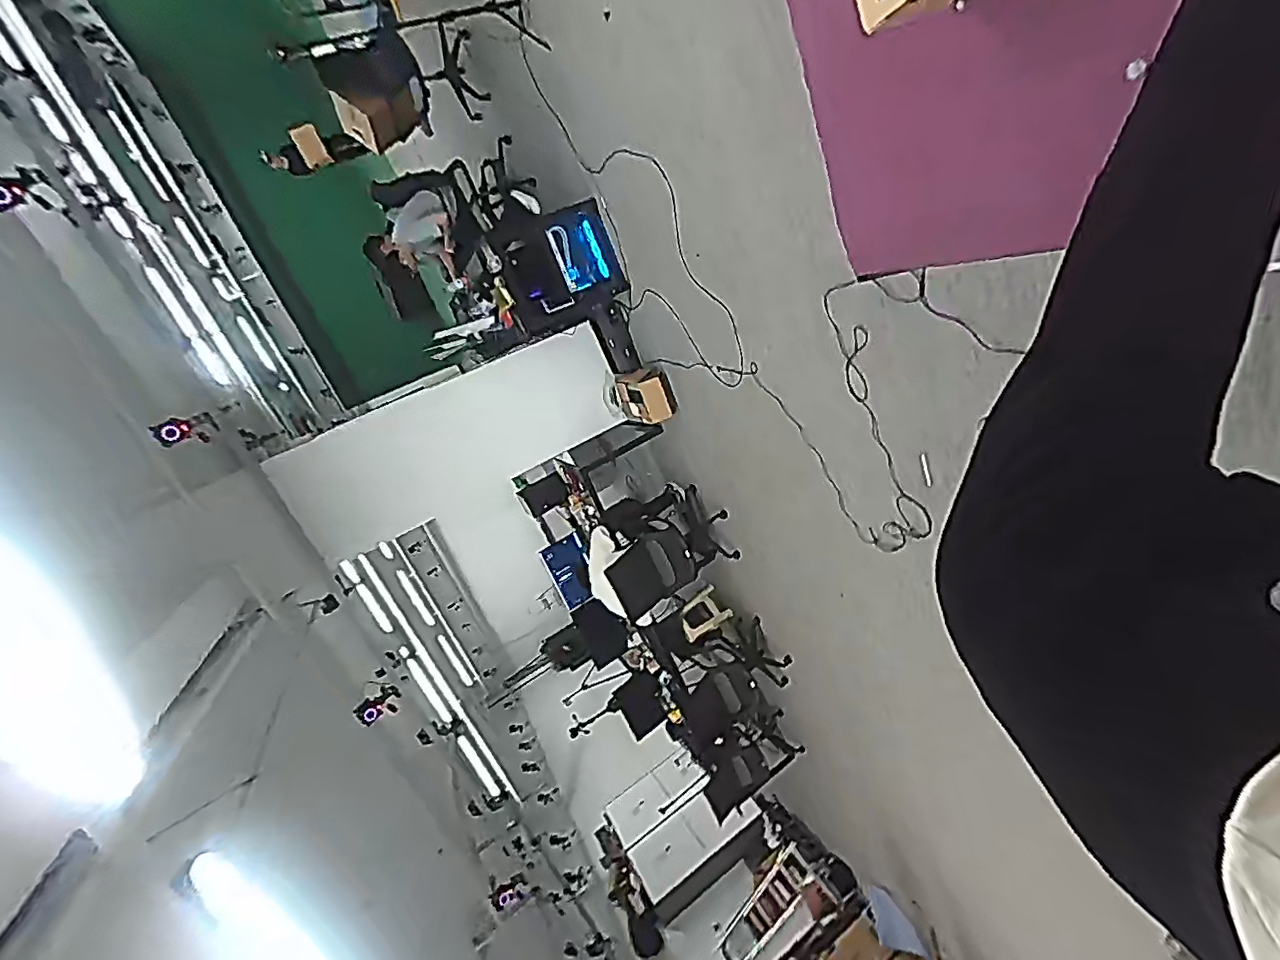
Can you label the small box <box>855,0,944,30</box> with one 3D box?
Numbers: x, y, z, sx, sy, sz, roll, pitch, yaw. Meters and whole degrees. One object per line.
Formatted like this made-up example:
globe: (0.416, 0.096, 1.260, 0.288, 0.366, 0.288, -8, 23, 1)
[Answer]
small box: (0.344, -0.657, 0.594, 0.168, 0.176, 0.179, 18, 134, 64)
